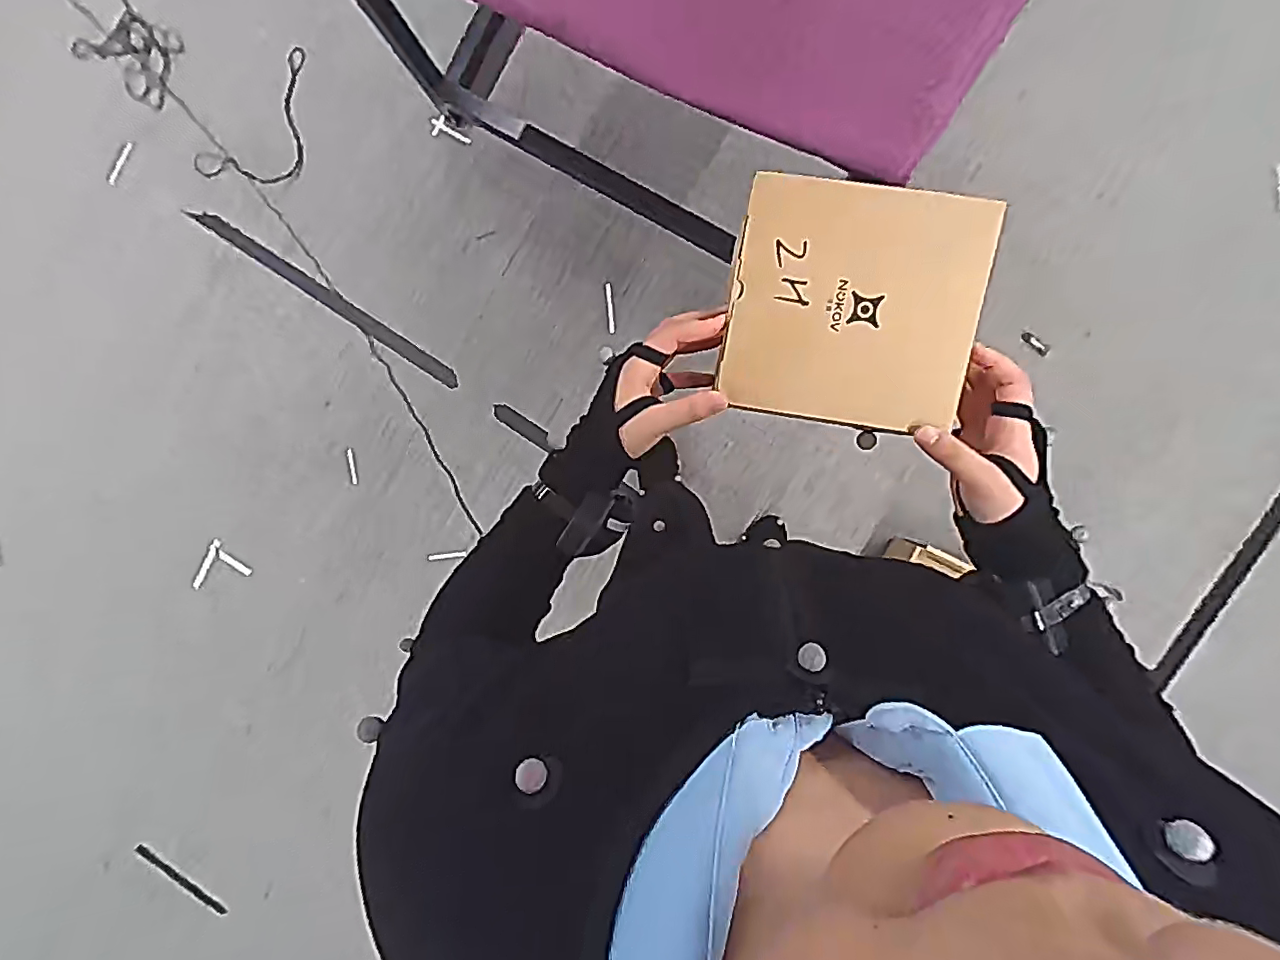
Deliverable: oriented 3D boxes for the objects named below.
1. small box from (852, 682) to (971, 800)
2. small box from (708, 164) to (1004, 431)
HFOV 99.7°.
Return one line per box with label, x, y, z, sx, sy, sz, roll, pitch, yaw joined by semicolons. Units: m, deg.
small box;0.652;0.625;1.322;0.179;0.176;0.168;28;94;6
small box;0.159;-0.139;0.464;0.179;0.176;0.168;10;98;5
